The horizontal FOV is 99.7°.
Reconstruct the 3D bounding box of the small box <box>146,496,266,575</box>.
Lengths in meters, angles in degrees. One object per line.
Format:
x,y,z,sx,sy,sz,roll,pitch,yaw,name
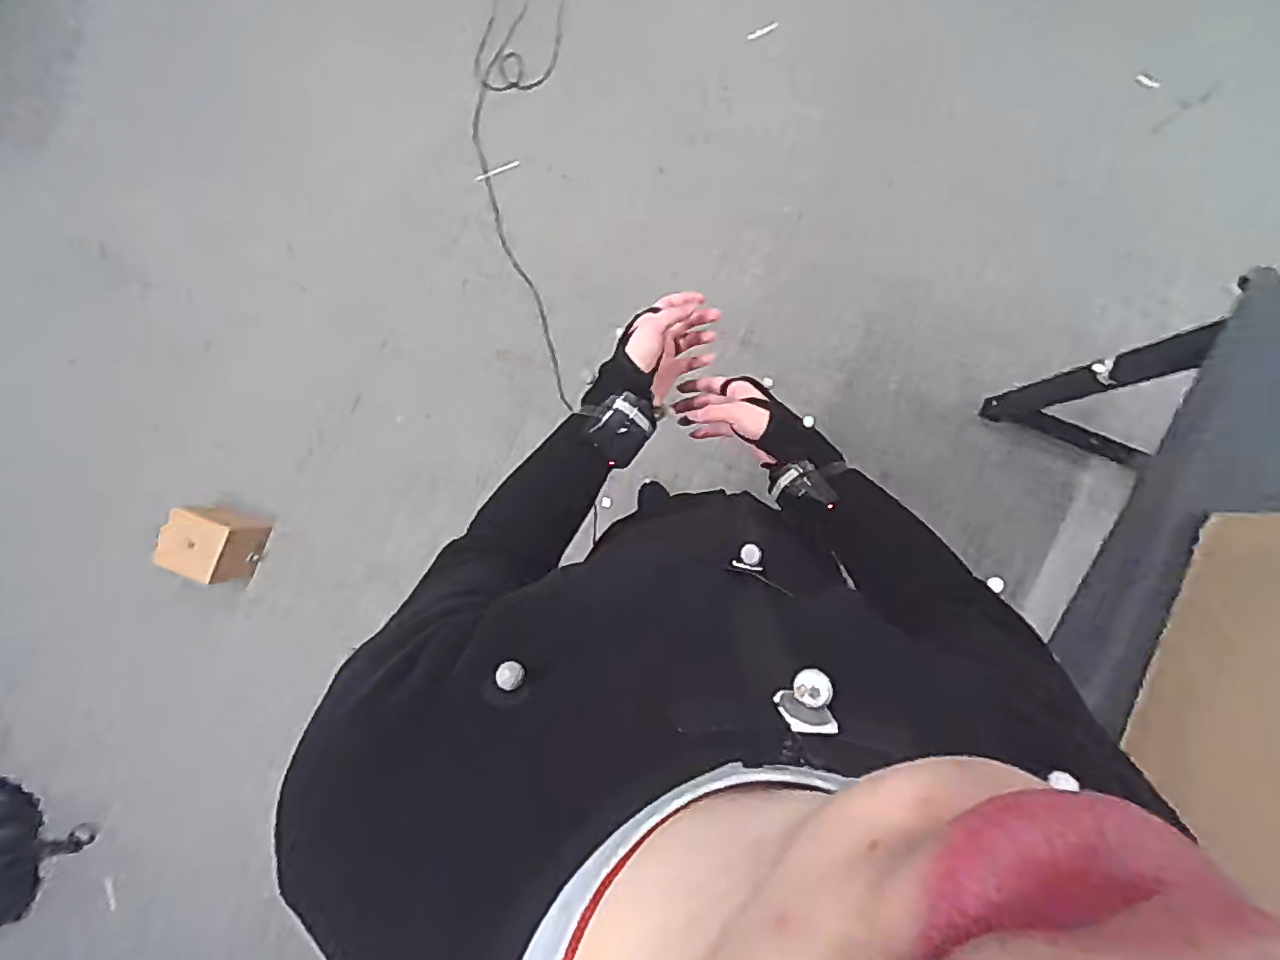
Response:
-1.218,0.151,1.529,0.179,0.176,0.168,21,91,1,small box
